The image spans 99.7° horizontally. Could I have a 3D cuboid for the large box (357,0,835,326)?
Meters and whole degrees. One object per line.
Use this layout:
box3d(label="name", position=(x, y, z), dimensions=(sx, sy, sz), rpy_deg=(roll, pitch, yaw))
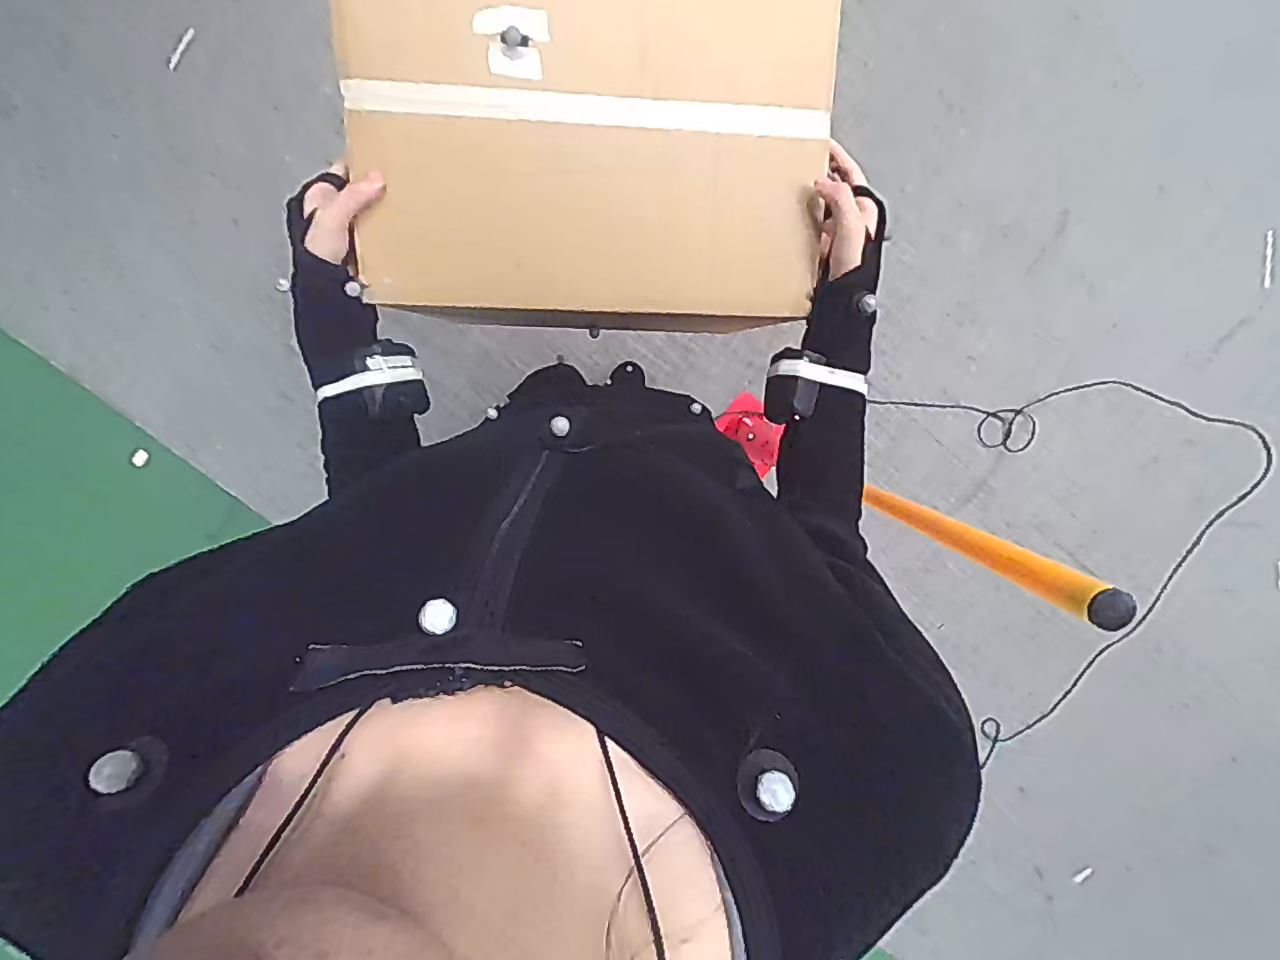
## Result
box3d(label="large box", position=(-0.044, -0.341, 0.612), dimensions=(0.408, 0.320, 0.320), rpy_deg=(1, 102, -5))
